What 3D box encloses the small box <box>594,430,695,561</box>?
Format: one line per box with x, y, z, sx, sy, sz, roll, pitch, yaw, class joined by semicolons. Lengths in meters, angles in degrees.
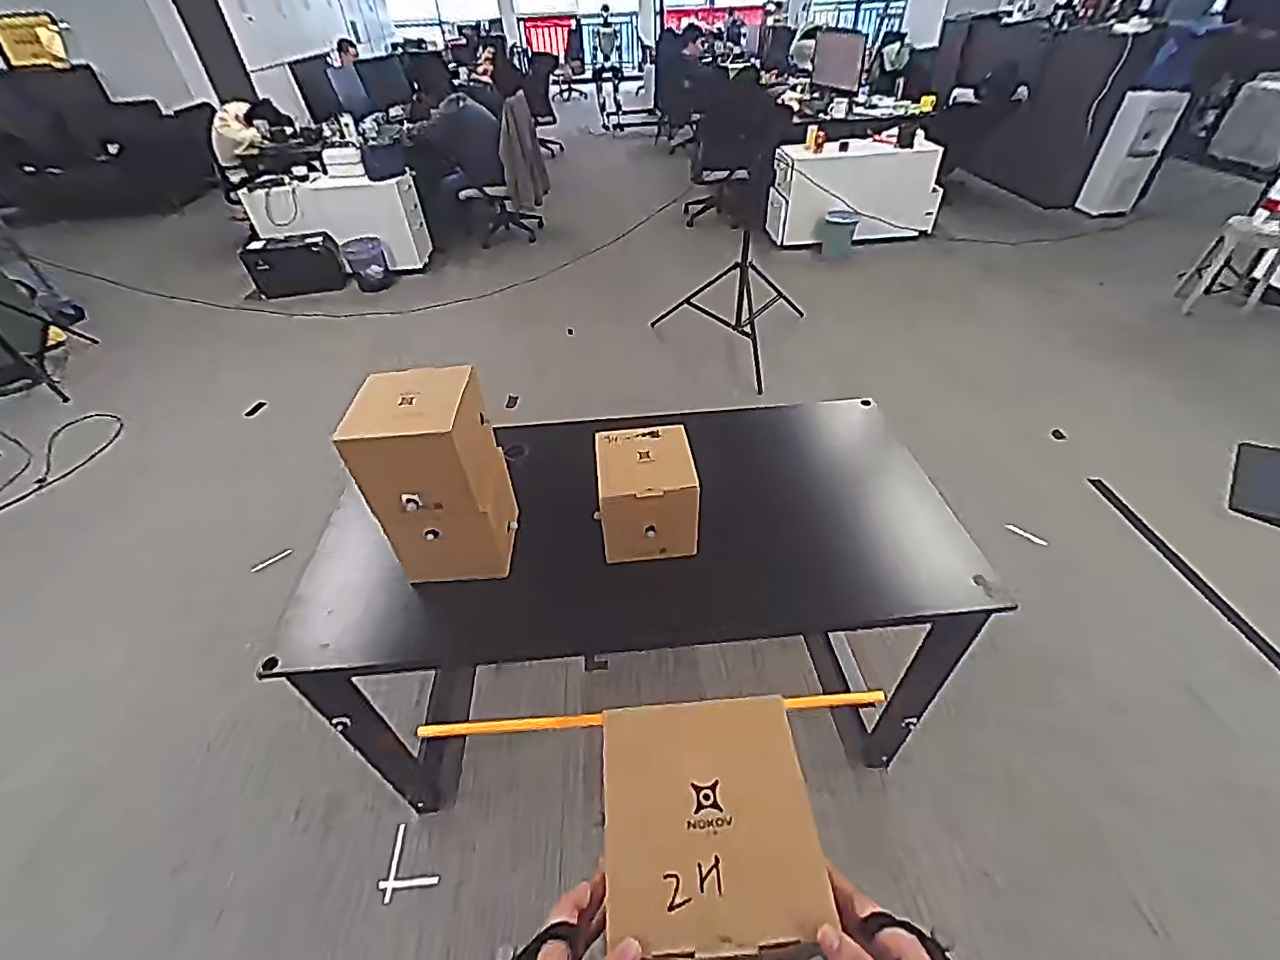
0.008;0.033;0.986;0.168;0.176;0.179;-6;42;-2;small box

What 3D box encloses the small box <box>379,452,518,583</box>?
-0.327;0.069;0.963;0.179;0.176;0.168;-3;42;-1;small box

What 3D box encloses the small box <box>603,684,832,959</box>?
0.055;0.313;0.496;0.168;0.176;0.179;-5;44;0;small box

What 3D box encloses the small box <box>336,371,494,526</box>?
-0.336;-0.050;0.853;0.168;0.176;0.179;-5;43;0;small box
